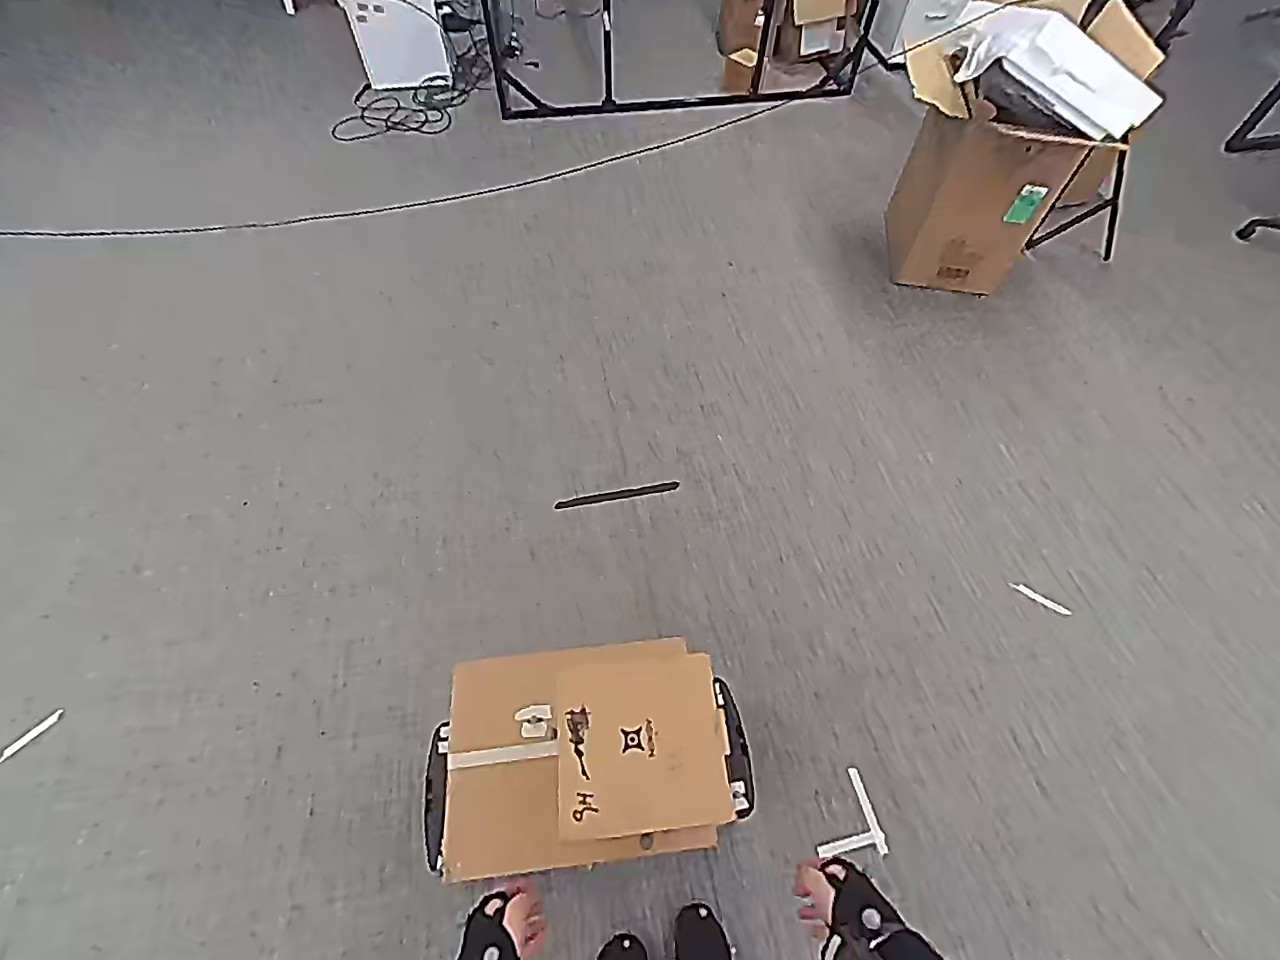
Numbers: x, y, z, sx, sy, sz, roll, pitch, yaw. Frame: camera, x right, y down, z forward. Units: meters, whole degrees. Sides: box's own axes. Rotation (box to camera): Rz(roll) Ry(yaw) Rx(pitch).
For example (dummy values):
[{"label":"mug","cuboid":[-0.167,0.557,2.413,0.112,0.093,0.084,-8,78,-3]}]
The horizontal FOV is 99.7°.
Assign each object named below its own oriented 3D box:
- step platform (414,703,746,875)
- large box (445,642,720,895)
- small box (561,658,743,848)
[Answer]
[{"label":"step platform","cuboid":[-0.118,0.652,1.170,0.684,0.204,0.286,-4,57,-2]},{"label":"large box","cuboid":[-0.096,0.512,0.978,0.408,0.320,0.320,-6,57,-4]},{"label":"small box","cuboid":[0.004,0.313,0.621,0.179,0.176,0.168,-4,57,-5]}]
